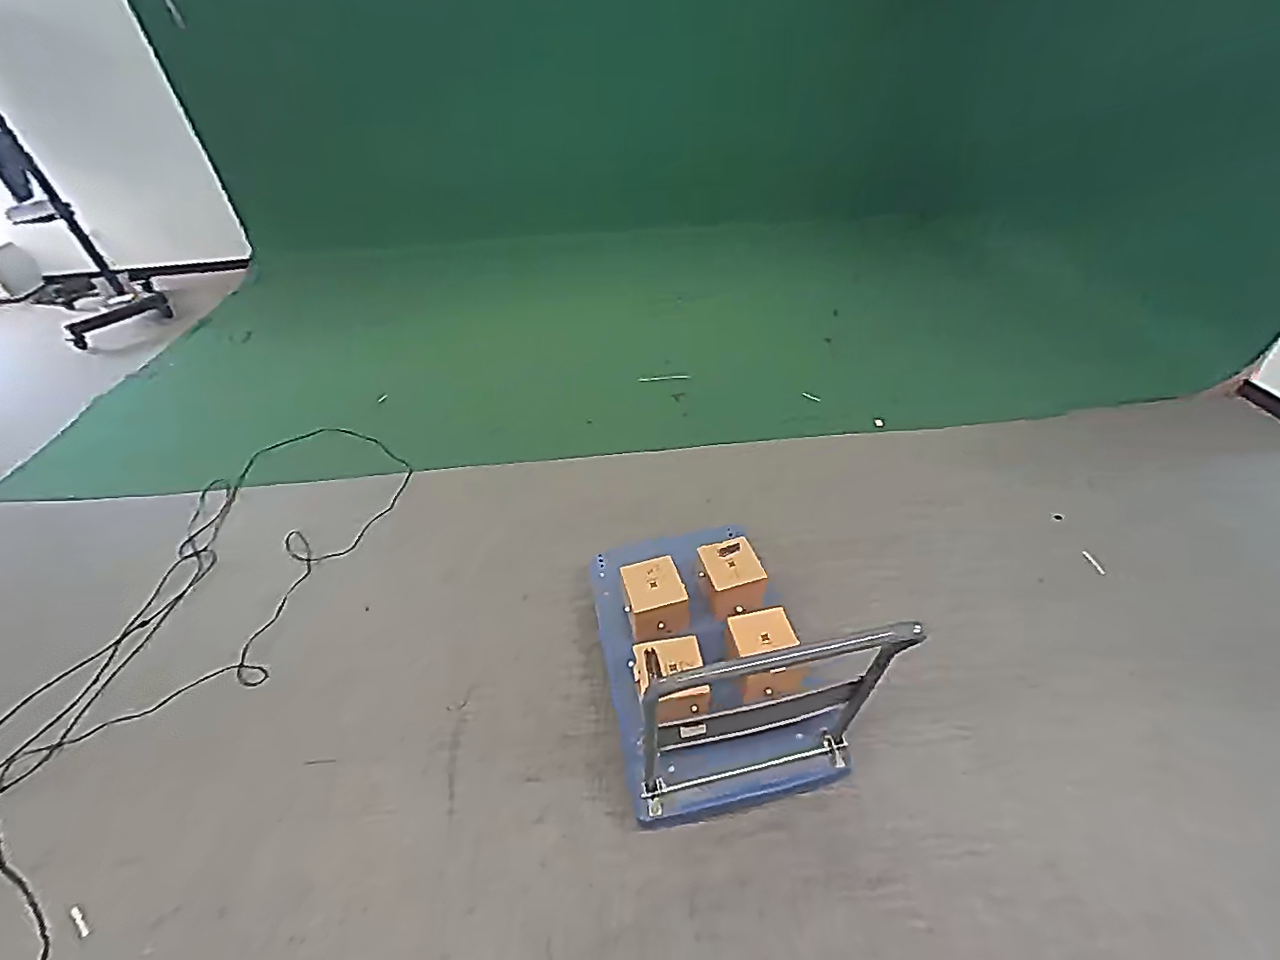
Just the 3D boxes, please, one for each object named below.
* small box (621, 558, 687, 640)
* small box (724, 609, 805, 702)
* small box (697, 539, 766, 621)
[{"bbox_3d":[0.044,0.376,1.682,0.168,0.176,0.179,-12,43,-11],"label":"small box"},{"bbox_3d":[0.344,0.496,1.530,0.168,0.176,0.179,-10,43,-7],"label":"small box"},{"bbox_3d":[0.285,0.320,1.727,0.168,0.176,0.179,-13,44,-9],"label":"small box"}]
